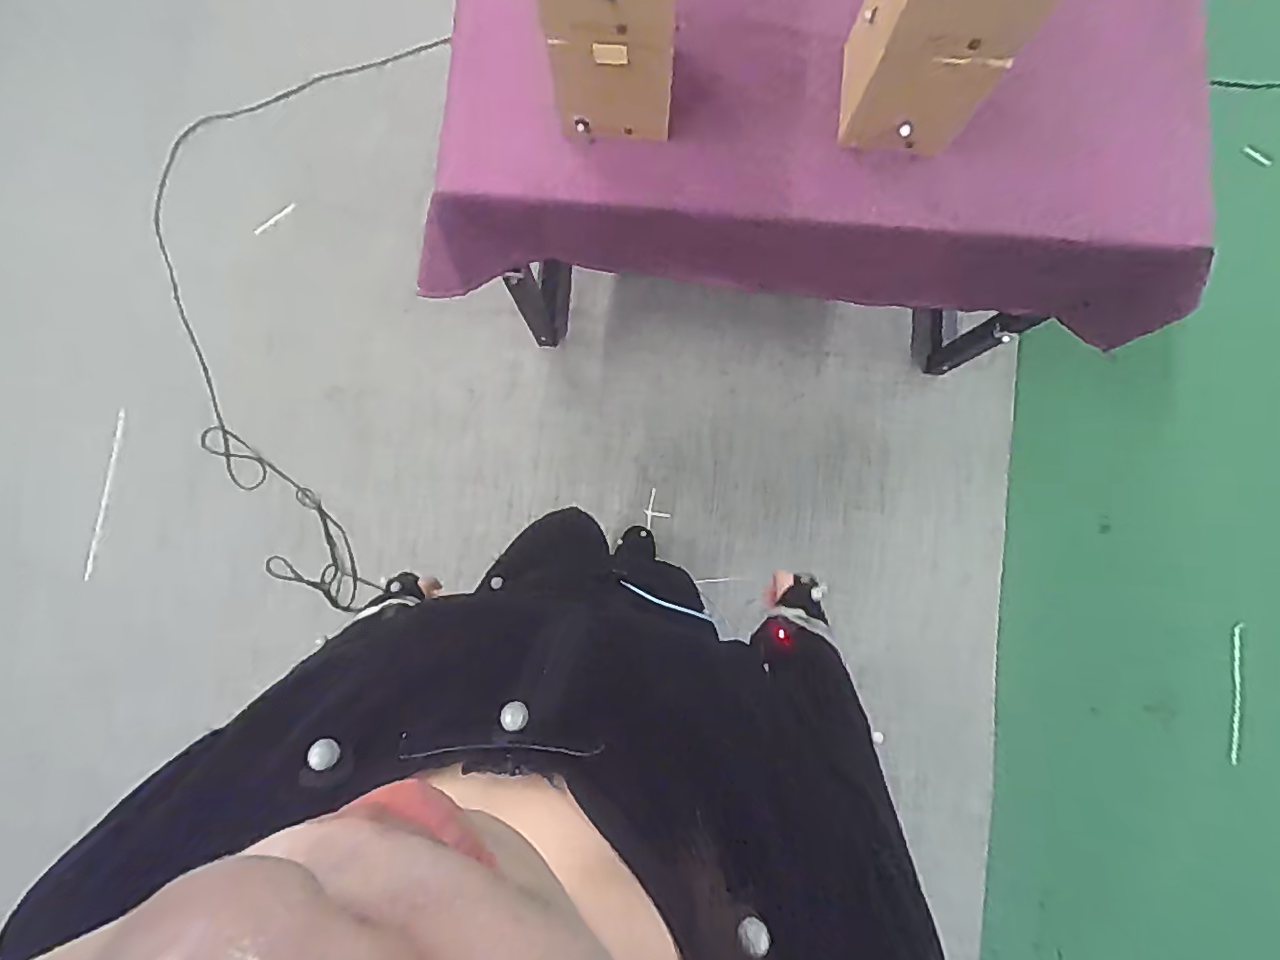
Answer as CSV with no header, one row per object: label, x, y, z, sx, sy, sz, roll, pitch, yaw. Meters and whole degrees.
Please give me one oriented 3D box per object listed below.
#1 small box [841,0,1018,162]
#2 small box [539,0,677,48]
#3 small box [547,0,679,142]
small box,0.402,-0.601,0.774,0.168,0.176,0.179,7,84,1
small box,-0.033,-0.640,0.611,0.168,0.176,0.179,5,85,0
small box,-0.032,-0.622,0.775,0.168,0.176,0.179,4,83,0
